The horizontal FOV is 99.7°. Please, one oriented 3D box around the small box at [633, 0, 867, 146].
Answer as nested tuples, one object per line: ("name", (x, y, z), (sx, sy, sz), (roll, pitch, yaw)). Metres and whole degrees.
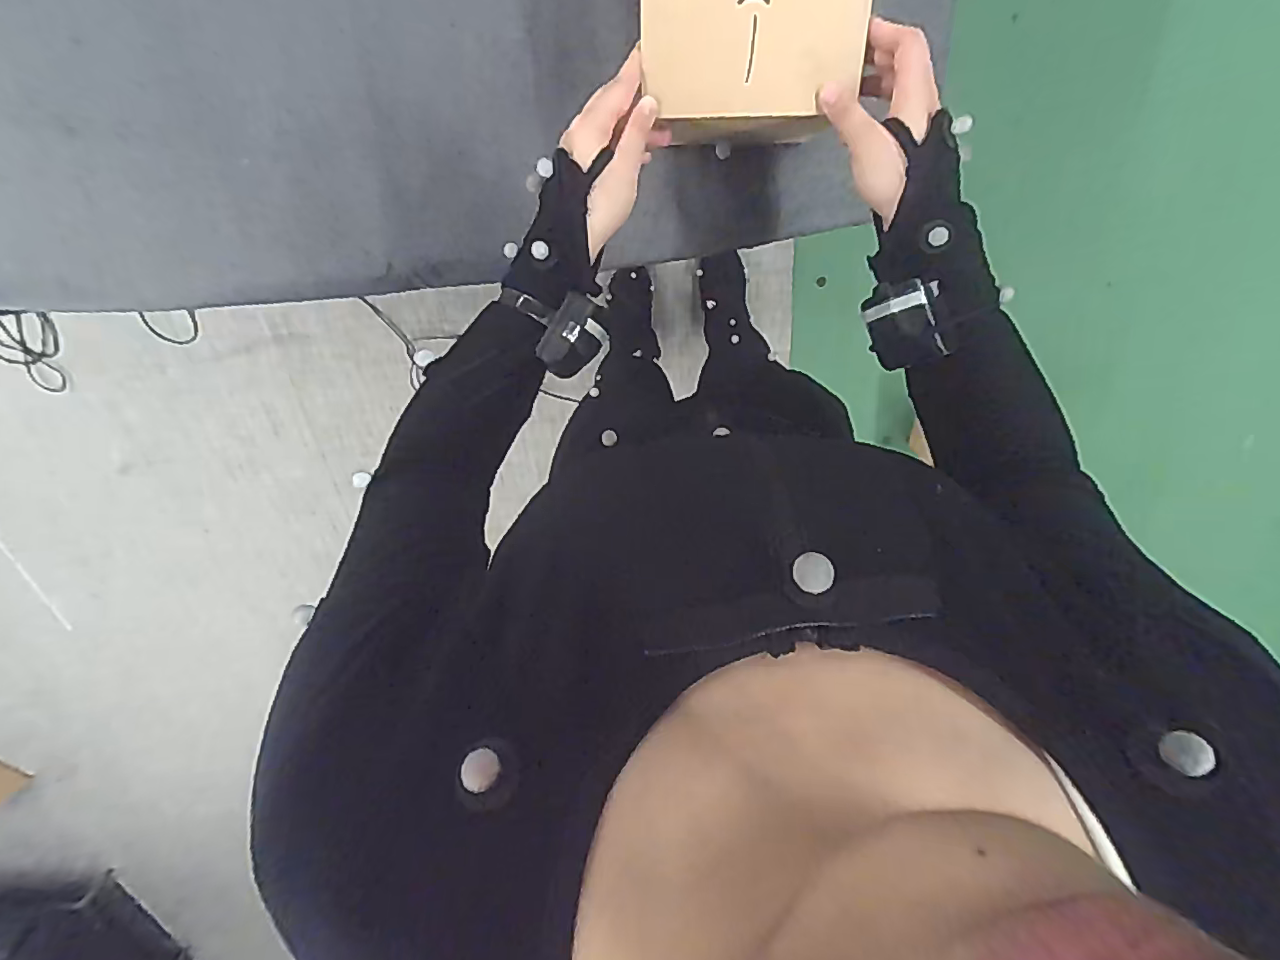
("small box", (0.079, -0.386, 0.442), (0.168, 0.176, 0.179), (1, 116, 3))
